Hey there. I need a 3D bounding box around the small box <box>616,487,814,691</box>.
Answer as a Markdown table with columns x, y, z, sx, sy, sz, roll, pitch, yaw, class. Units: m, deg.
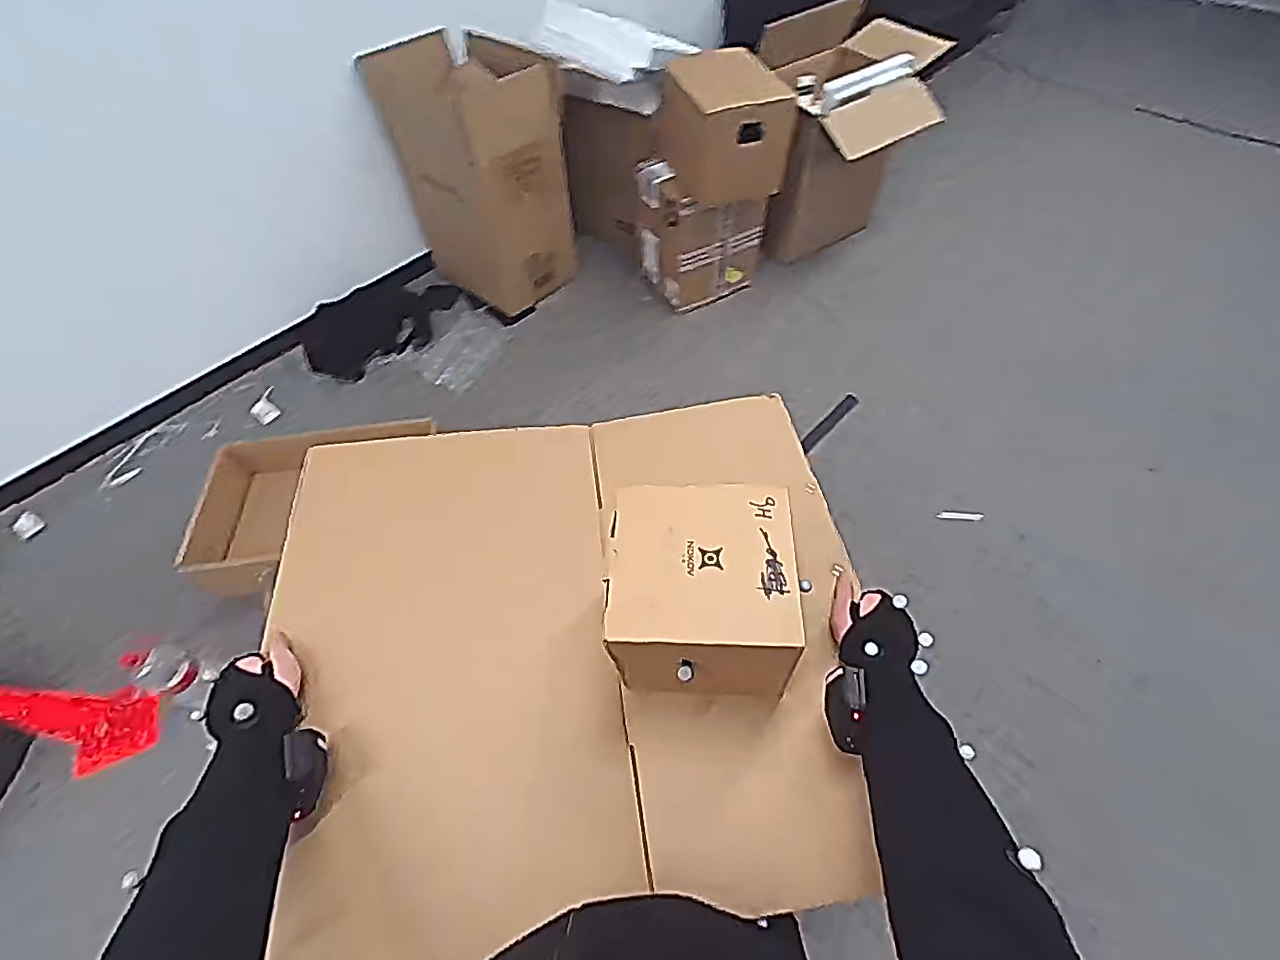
| x | y | z | sx | sy | sz | roll | pitch | yaw | class |
| --- | --- | --- | --- | --- | --- | --- | --- | --- | --- |
| 0.080 | 0.122 | 0.581 | 0.179 | 0.176 | 0.168 | 0 | 56 | 7 | small box |
